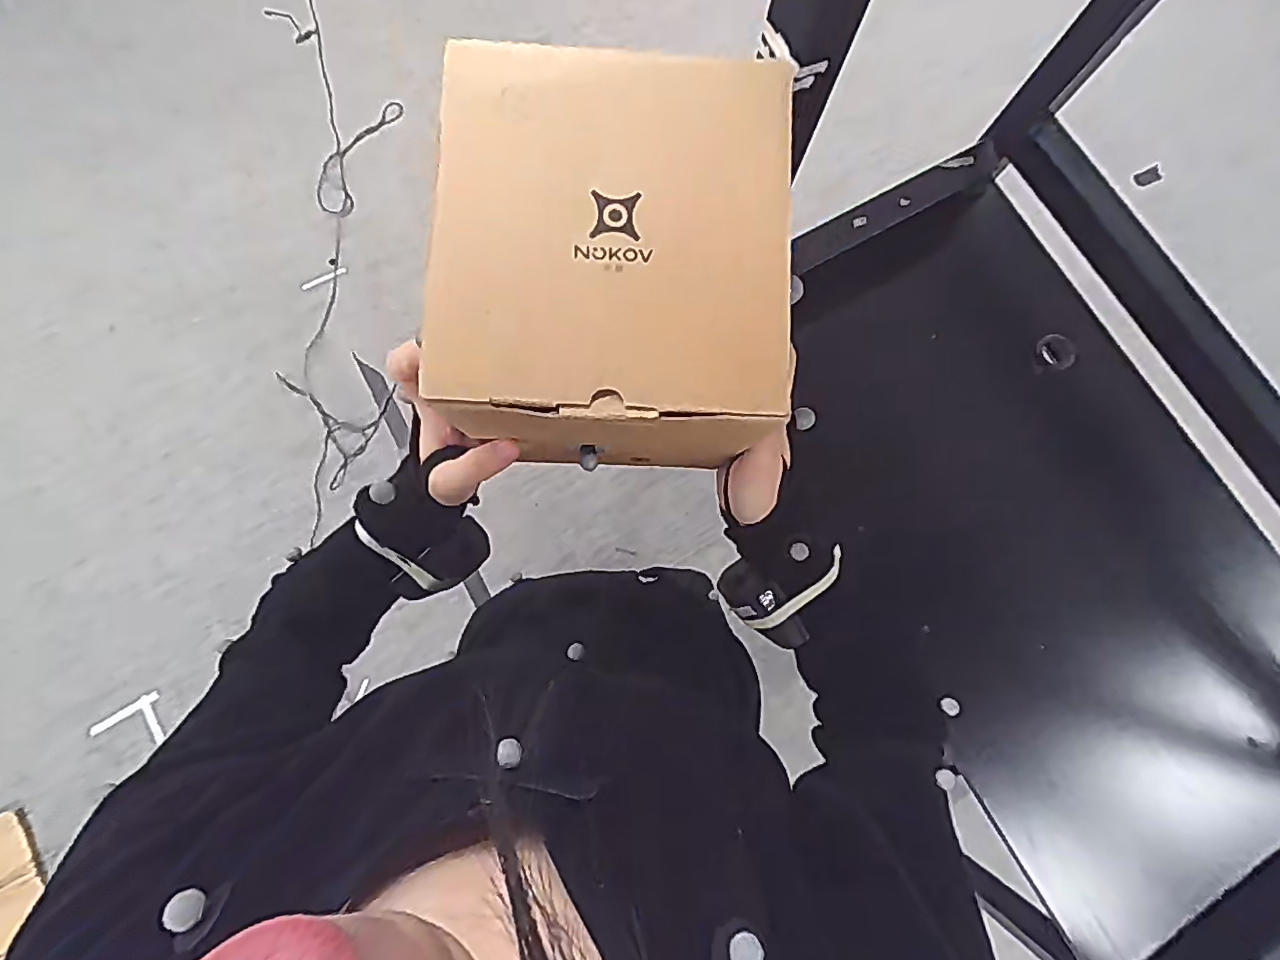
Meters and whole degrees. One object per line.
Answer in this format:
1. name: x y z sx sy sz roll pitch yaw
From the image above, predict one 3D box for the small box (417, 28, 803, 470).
1. small box: -0.013 -0.106 0.318 0.168 0.176 0.179 2 84 -2
